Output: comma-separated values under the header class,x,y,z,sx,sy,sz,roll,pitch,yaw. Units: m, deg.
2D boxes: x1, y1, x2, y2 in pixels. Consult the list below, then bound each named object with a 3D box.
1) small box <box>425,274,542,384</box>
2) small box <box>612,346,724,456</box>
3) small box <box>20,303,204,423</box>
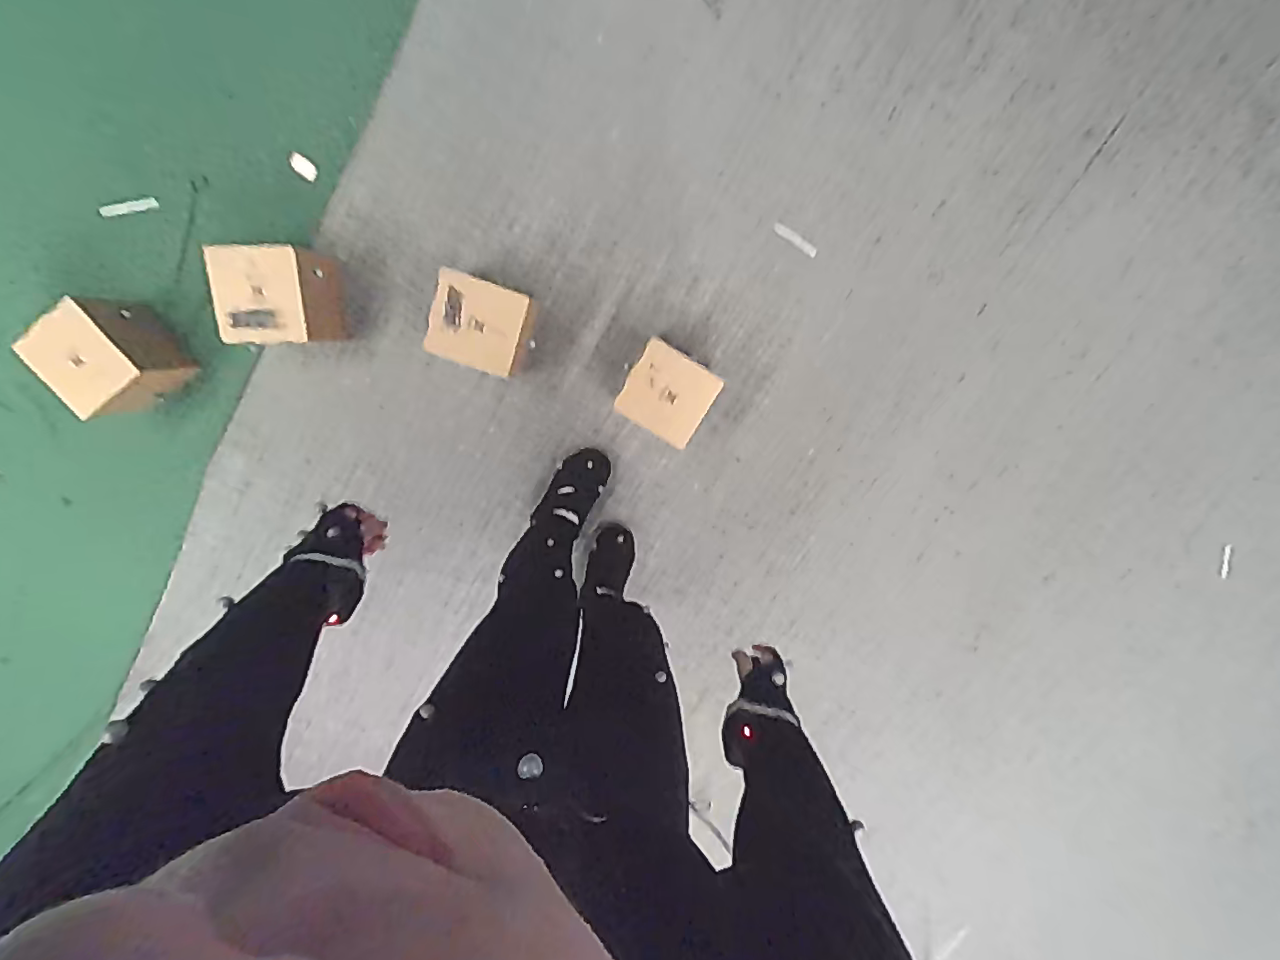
class,x,y,z,sx,sy,sz,roll,pitch,yaw
small box,-0.319,-0.309,1.131,0.179,0.176,0.168,18,102,-7
small box,0.055,-0.178,1.174,0.179,0.176,0.168,31,100,-9
small box,-1.083,-0.241,1.126,0.168,0.176,0.179,-34,102,6
